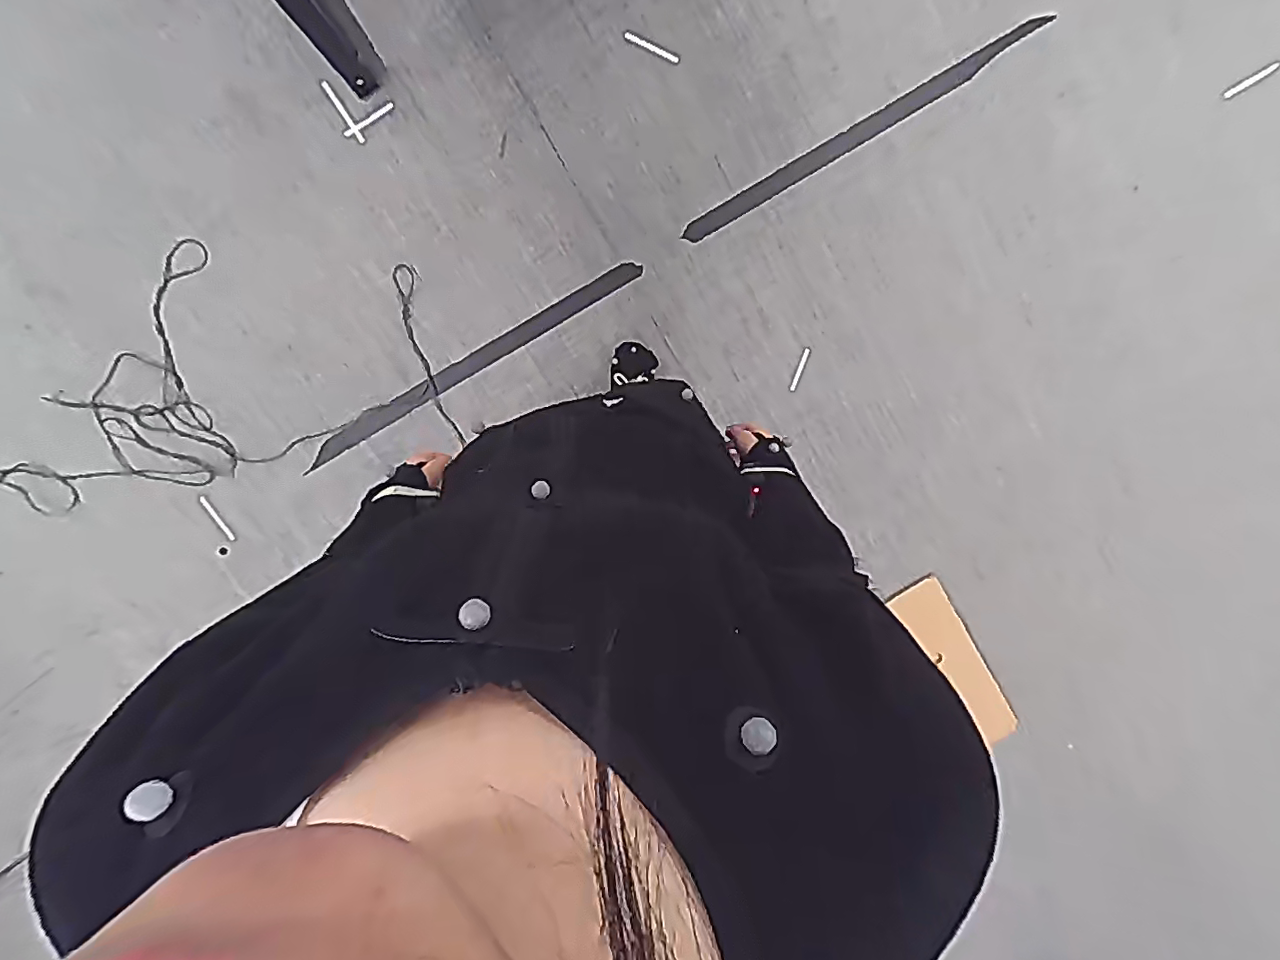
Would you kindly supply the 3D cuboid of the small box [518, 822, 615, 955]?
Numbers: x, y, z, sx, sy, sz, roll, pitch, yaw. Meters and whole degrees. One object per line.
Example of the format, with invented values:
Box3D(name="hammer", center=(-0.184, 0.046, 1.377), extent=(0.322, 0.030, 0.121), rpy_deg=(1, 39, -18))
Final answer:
Box3D(name="small box", center=(-0.163, 0.941, 1.258), extent=(0.179, 0.176, 0.168), rpy_deg=(18, 98, -5))
